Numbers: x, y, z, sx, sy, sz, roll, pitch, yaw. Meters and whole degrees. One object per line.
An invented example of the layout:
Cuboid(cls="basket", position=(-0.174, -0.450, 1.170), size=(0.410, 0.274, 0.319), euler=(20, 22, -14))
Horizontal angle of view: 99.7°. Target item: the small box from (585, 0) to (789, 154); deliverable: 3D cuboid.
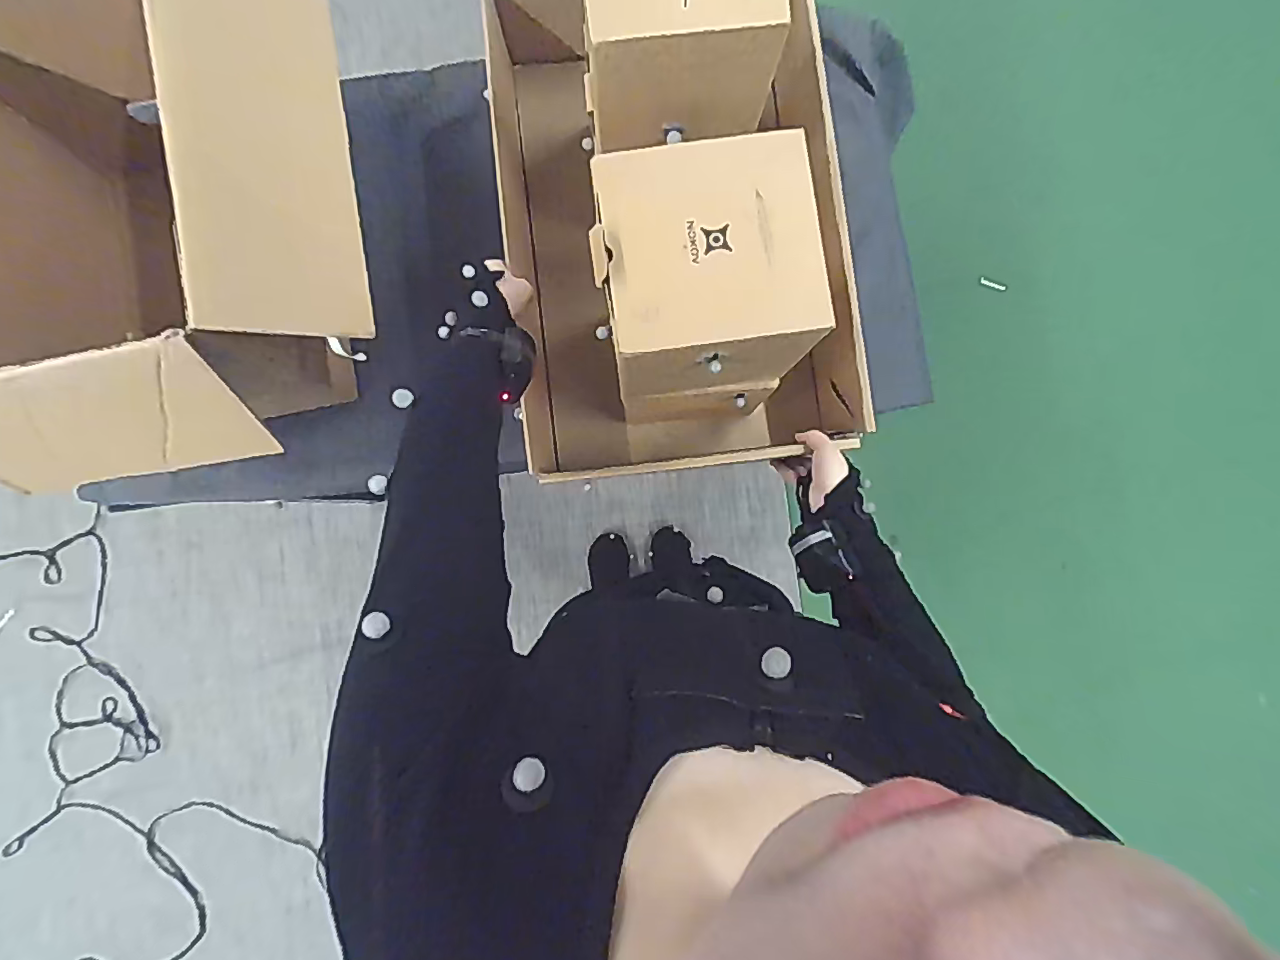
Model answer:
Cuboid(cls="small box", position=(0.031, -0.442, 0.519), size=(0.168, 0.176, 0.179), euler=(-6, 89, 0))

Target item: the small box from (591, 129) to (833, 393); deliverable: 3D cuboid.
Cuboid(cls="small box", position=(0.057, -0.187, 0.509), size=(0.179, 0.176, 0.168), euler=(-8, 87, -1))
